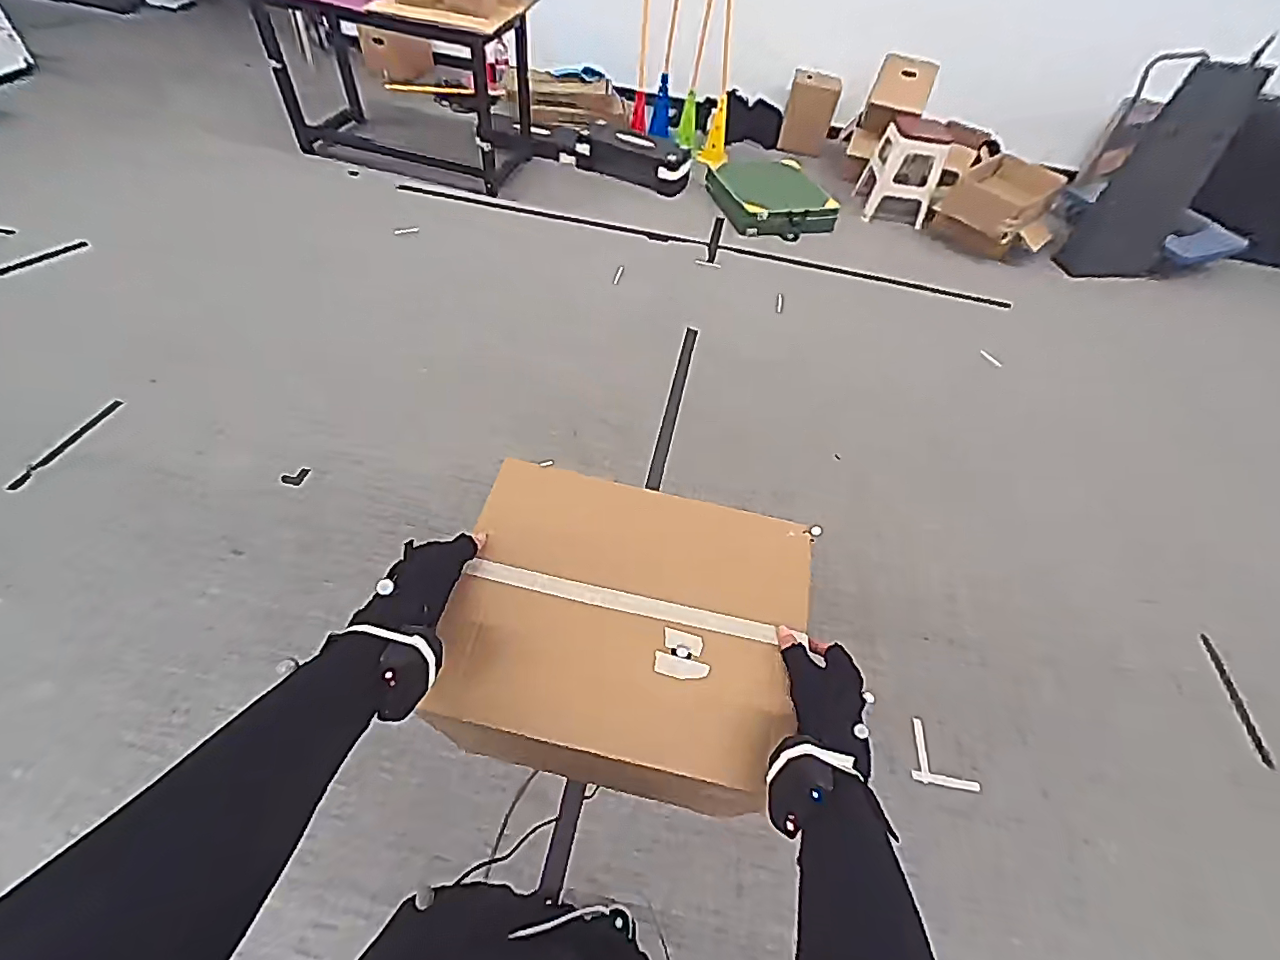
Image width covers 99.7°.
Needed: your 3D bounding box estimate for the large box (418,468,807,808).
[{"bbox_3d":[-0.020,0.228,0.747,0.408,0.320,0.320,13,57,3],"label":"large box"}]
